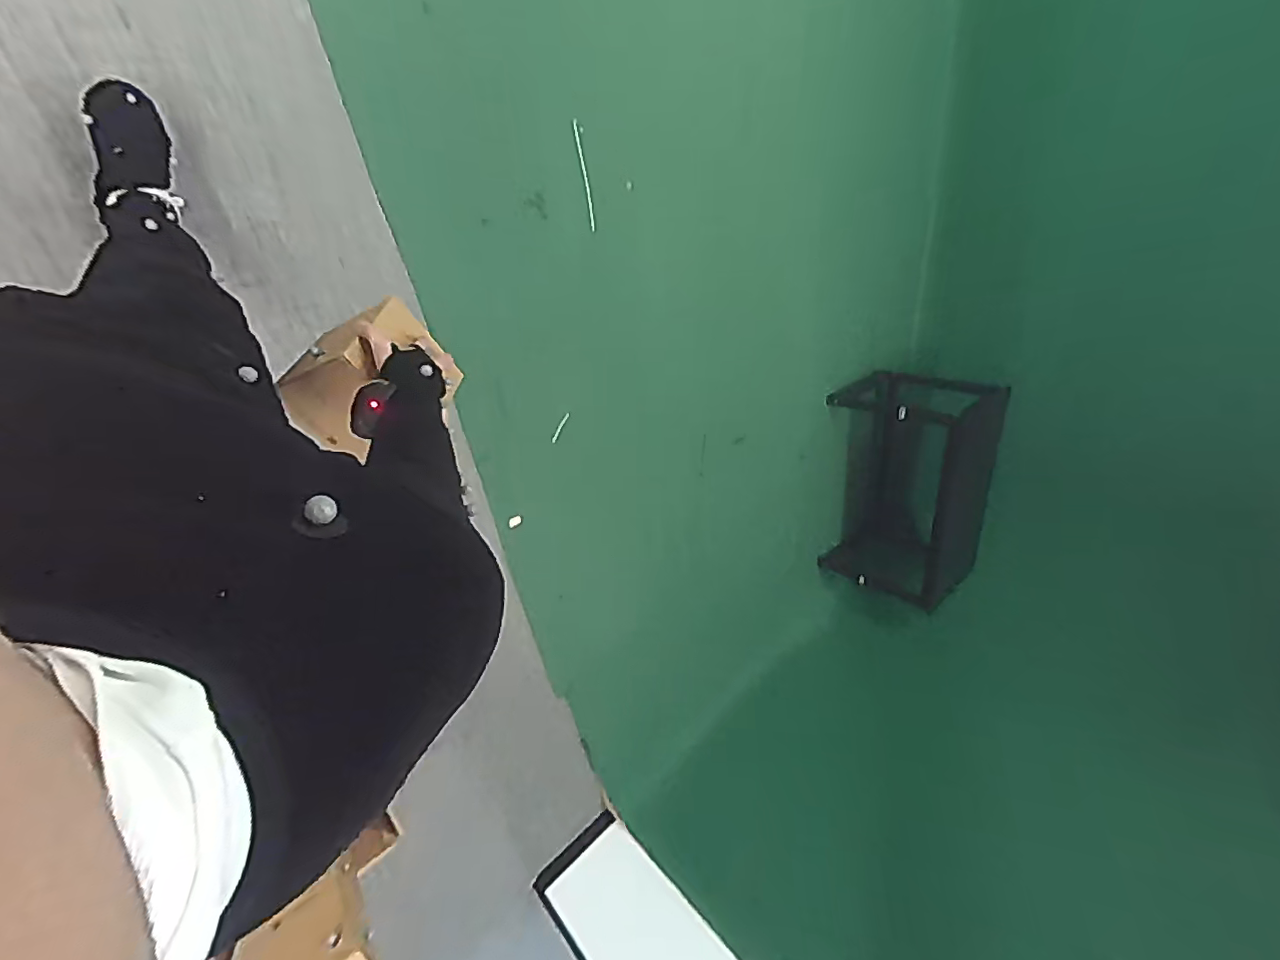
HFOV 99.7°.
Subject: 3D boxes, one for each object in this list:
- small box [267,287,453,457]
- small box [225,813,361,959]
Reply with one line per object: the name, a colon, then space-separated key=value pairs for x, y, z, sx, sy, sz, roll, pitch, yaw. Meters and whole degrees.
small box: x=-0.434 y=-0.162 z=0.846 sx=0.168 sy=0.176 sz=0.179 roll=56 pitch=28 yaw=-38
small box: x=-0.693 y=0.821 z=1.082 sx=0.168 sy=0.176 sz=0.179 roll=-28 pitch=122 yaw=-32
